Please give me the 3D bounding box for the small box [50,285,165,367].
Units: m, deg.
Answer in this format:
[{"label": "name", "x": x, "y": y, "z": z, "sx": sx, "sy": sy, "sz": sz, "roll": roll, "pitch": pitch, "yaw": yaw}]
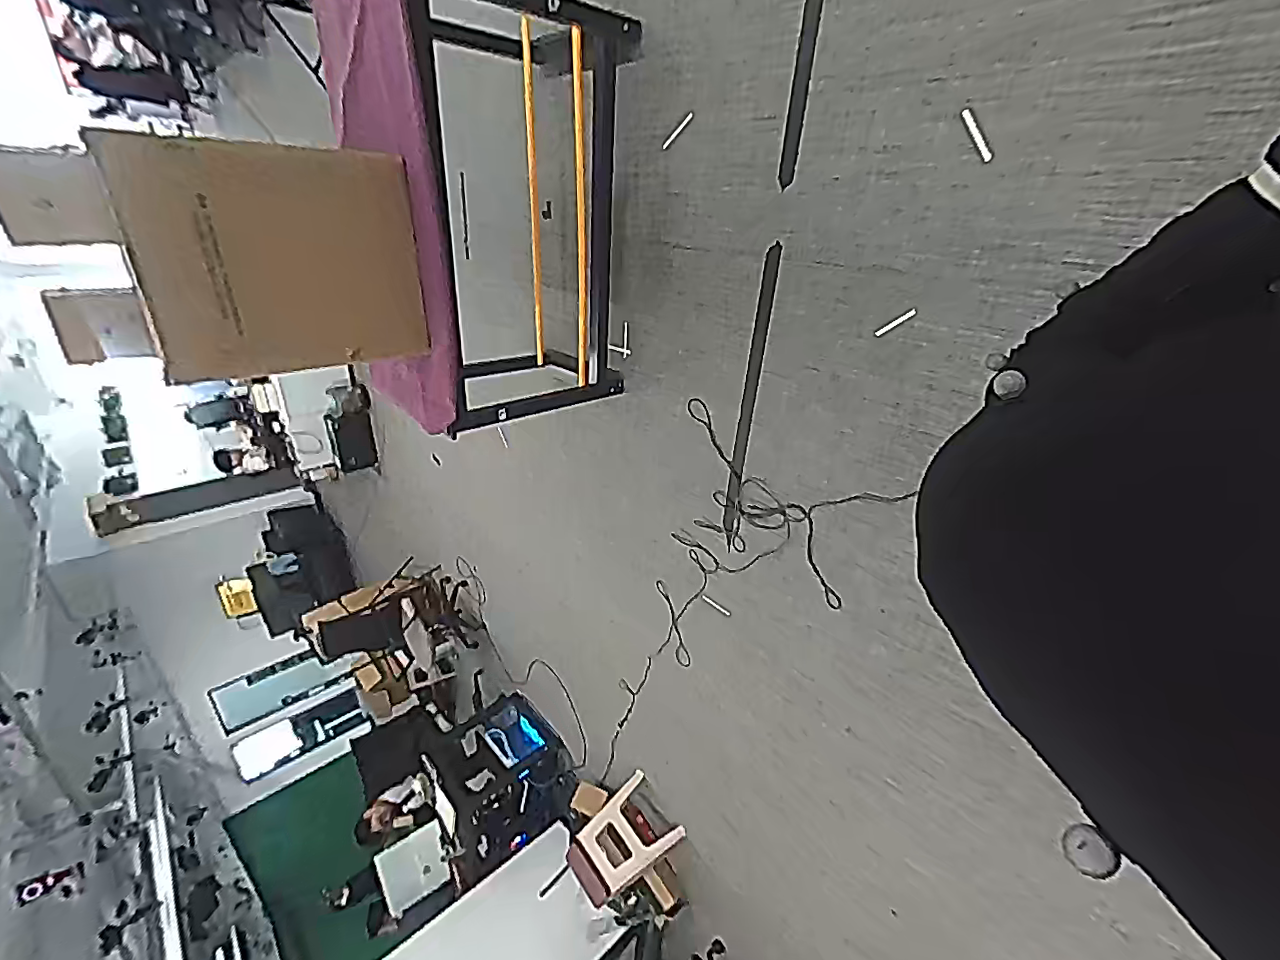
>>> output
[{"label": "small box", "x": -1.326, "y": -0.393, "z": 1.356, "sx": 0.179, "sy": 0.176, "sz": 0.168, "roll": 27, "pitch": 124, "yaw": 41}]
